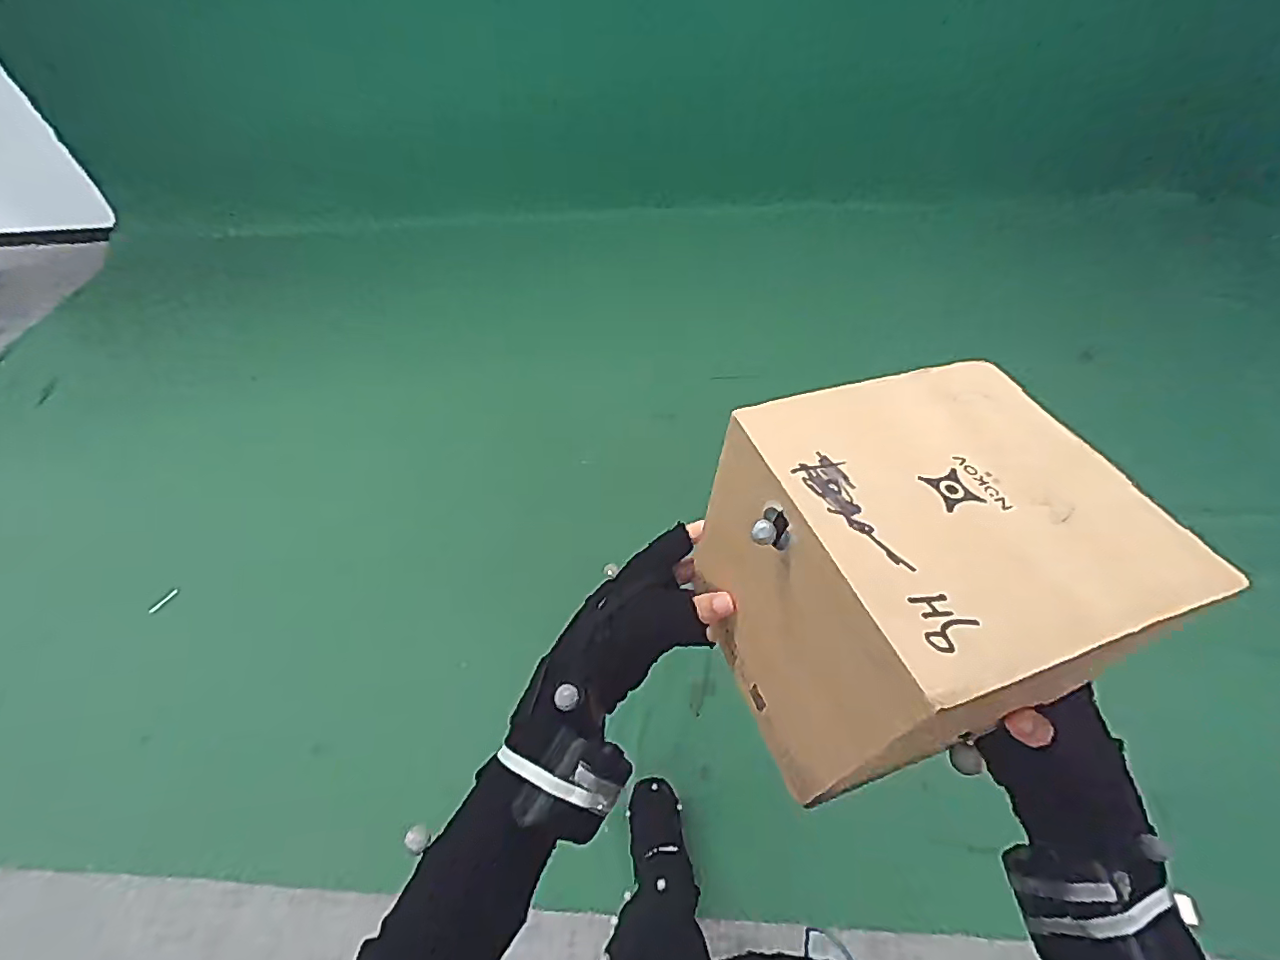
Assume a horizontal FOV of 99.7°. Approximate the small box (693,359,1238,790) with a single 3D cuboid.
[{"bbox_3d":[0.149,0.053,0.319,0.179,0.176,0.168,-11,50,-16],"label":"small box"}]
